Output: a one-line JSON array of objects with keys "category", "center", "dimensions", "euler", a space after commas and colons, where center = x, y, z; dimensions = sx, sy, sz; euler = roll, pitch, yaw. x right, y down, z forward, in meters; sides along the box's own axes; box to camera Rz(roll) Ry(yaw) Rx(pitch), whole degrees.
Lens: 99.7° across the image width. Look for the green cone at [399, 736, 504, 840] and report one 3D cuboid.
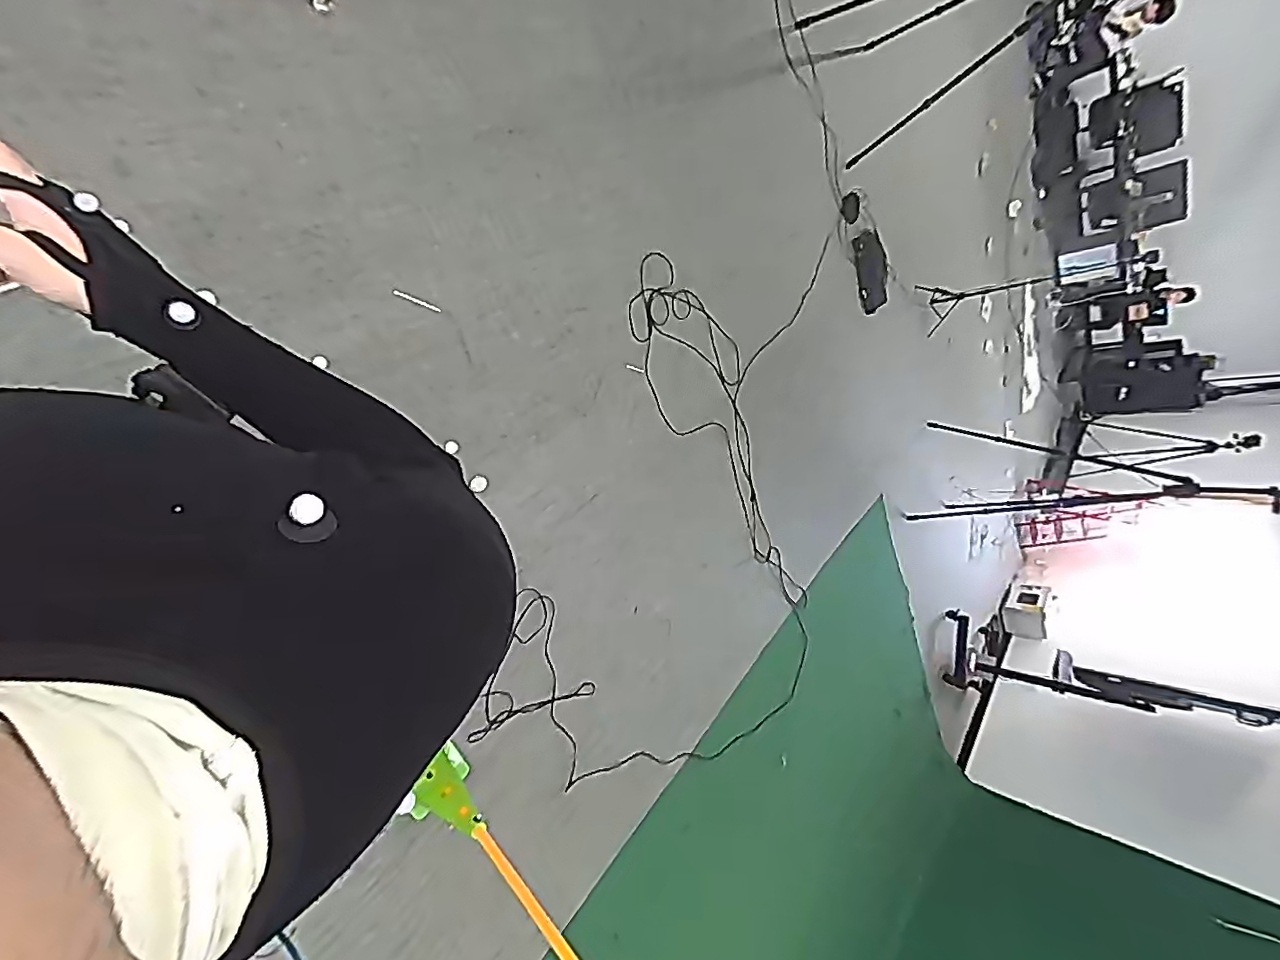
[{"category": "green cone", "center": [-0.500, 0.932, 1.551], "dimensions": [0.202, 0.368, 0.200], "euler": [-40, 117, -35]}]
